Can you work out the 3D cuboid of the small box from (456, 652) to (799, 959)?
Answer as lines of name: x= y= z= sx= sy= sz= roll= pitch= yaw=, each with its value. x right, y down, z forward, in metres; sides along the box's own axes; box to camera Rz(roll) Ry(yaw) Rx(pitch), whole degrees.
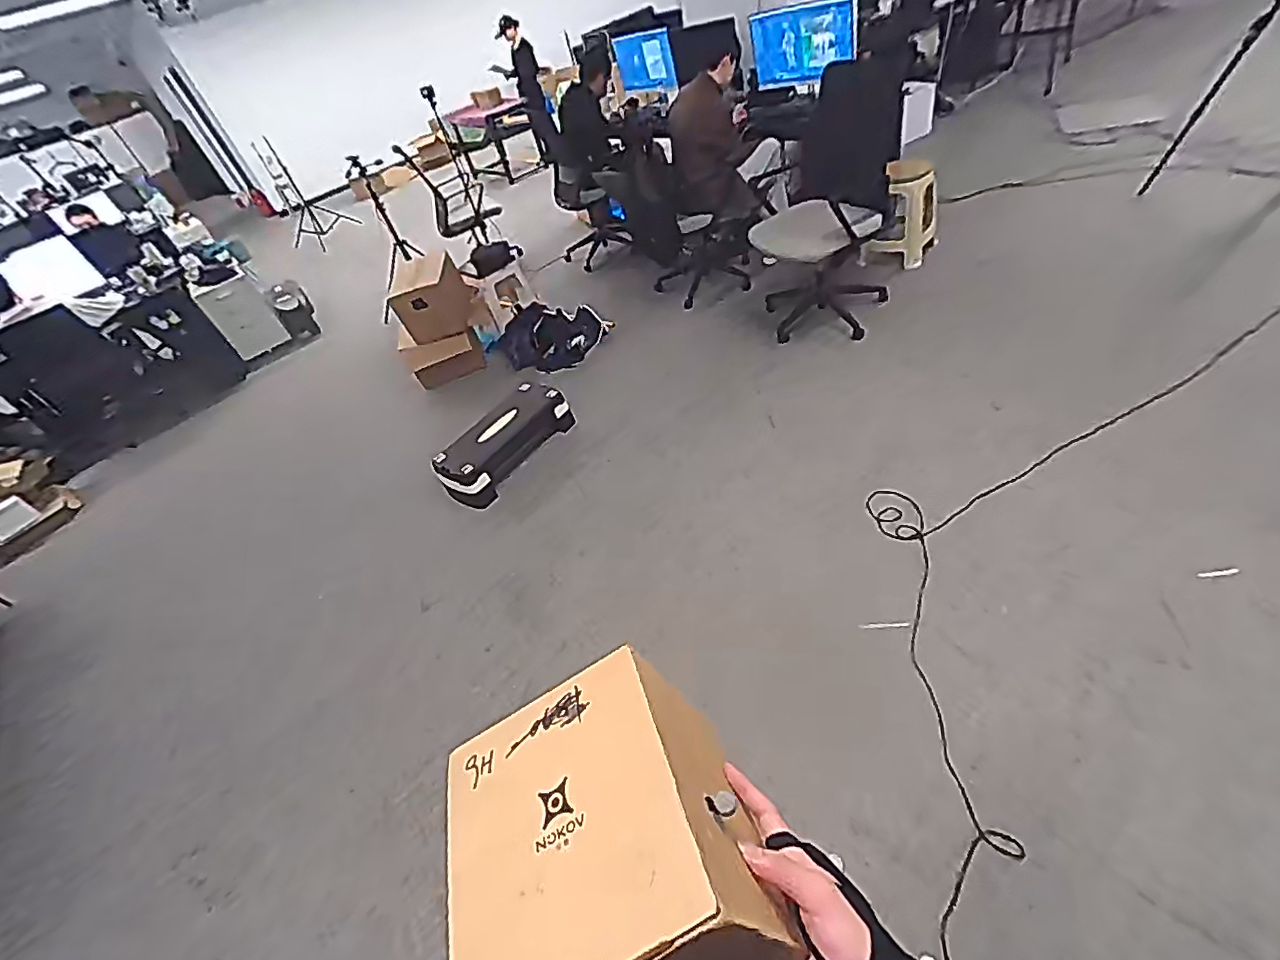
small box: x=-0.010 y=0.268 z=0.394 sx=0.168 sy=0.176 sz=0.179 roll=-32 pitch=39 yaw=3
